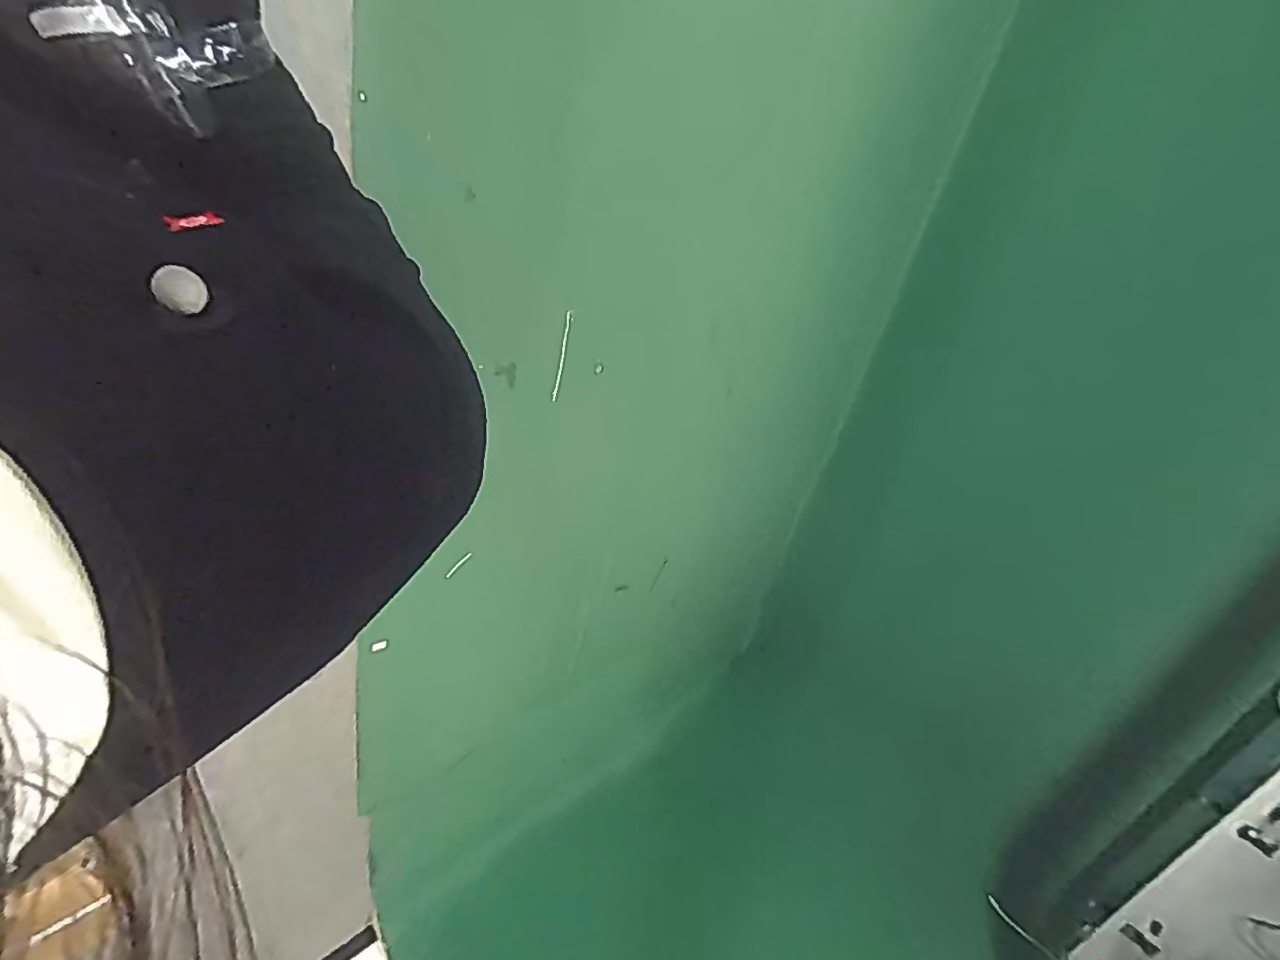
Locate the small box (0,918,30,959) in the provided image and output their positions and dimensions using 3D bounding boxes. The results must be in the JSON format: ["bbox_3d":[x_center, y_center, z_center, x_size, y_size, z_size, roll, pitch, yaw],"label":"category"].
[{"bbox_3d":[-1.344,1.025,1.060,0.179,0.176,0.168,-17,128,-41],"label":"small box"}]
